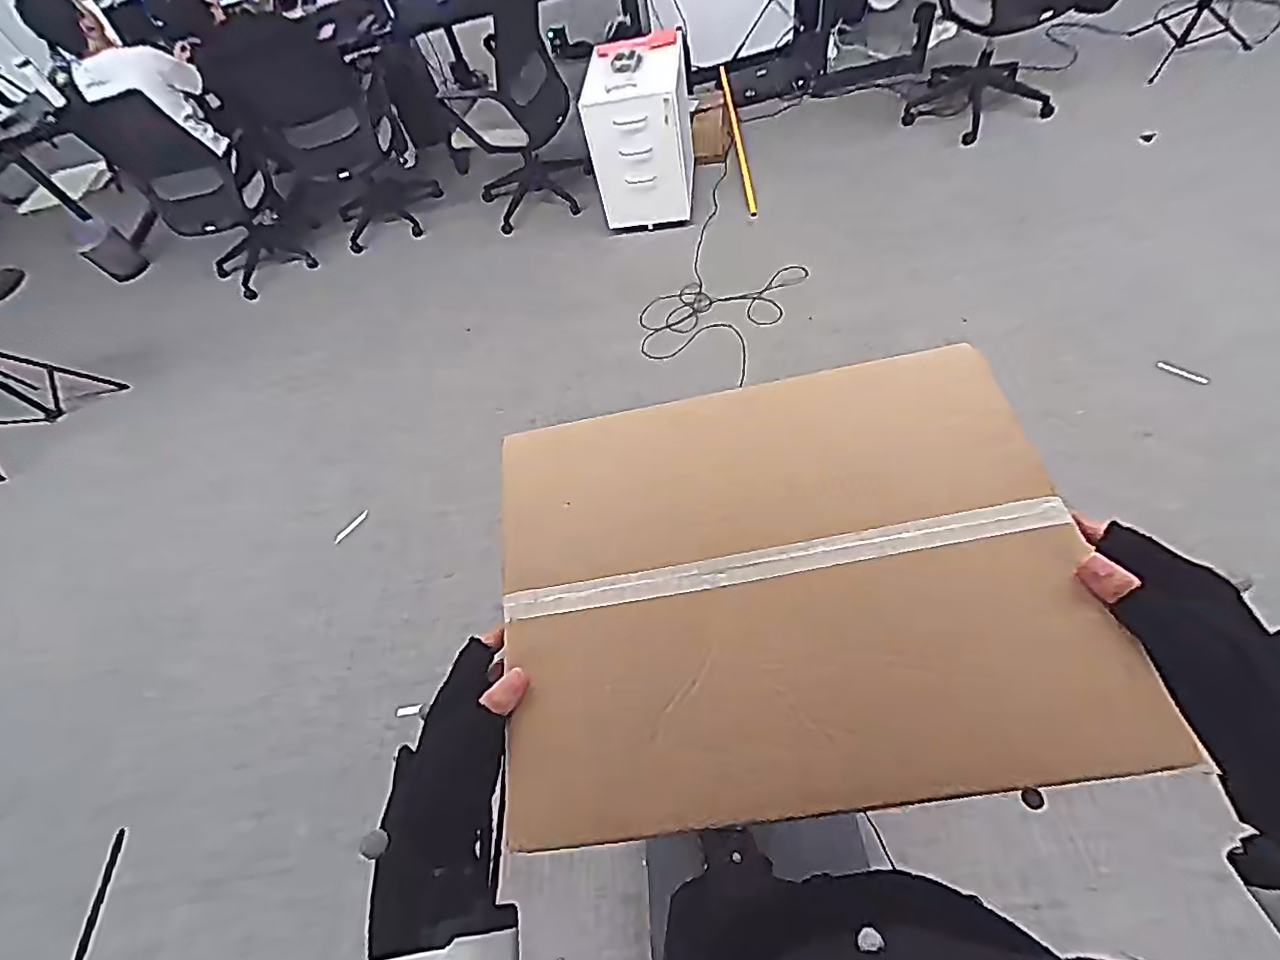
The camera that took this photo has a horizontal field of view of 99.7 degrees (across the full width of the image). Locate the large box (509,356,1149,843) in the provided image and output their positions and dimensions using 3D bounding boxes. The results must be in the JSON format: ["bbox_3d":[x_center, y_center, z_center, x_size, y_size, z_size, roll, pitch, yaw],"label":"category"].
[{"bbox_3d":[0.119,0.129,0.537,0.408,0.320,0.320,-11,62,5],"label":"large box"}]
